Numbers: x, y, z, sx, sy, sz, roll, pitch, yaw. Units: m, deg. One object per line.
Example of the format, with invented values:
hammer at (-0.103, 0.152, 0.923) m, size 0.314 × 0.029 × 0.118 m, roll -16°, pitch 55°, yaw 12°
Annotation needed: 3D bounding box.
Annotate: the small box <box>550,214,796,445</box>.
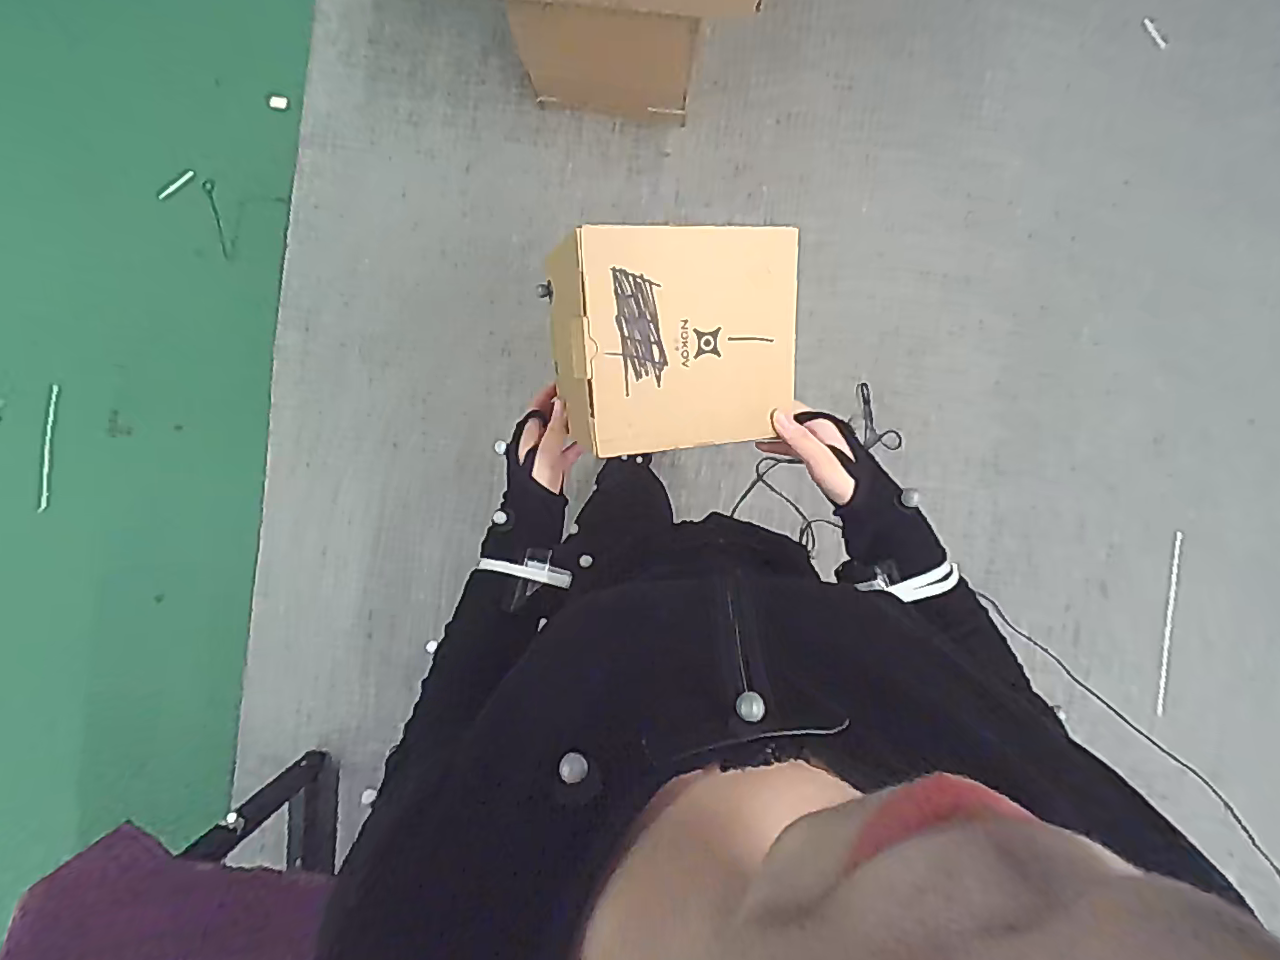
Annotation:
small box at (0.017, -0.131, 0.488) m, size 0.179 × 0.176 × 0.168 m, roll -7°, pitch 106°, yaw -17°
